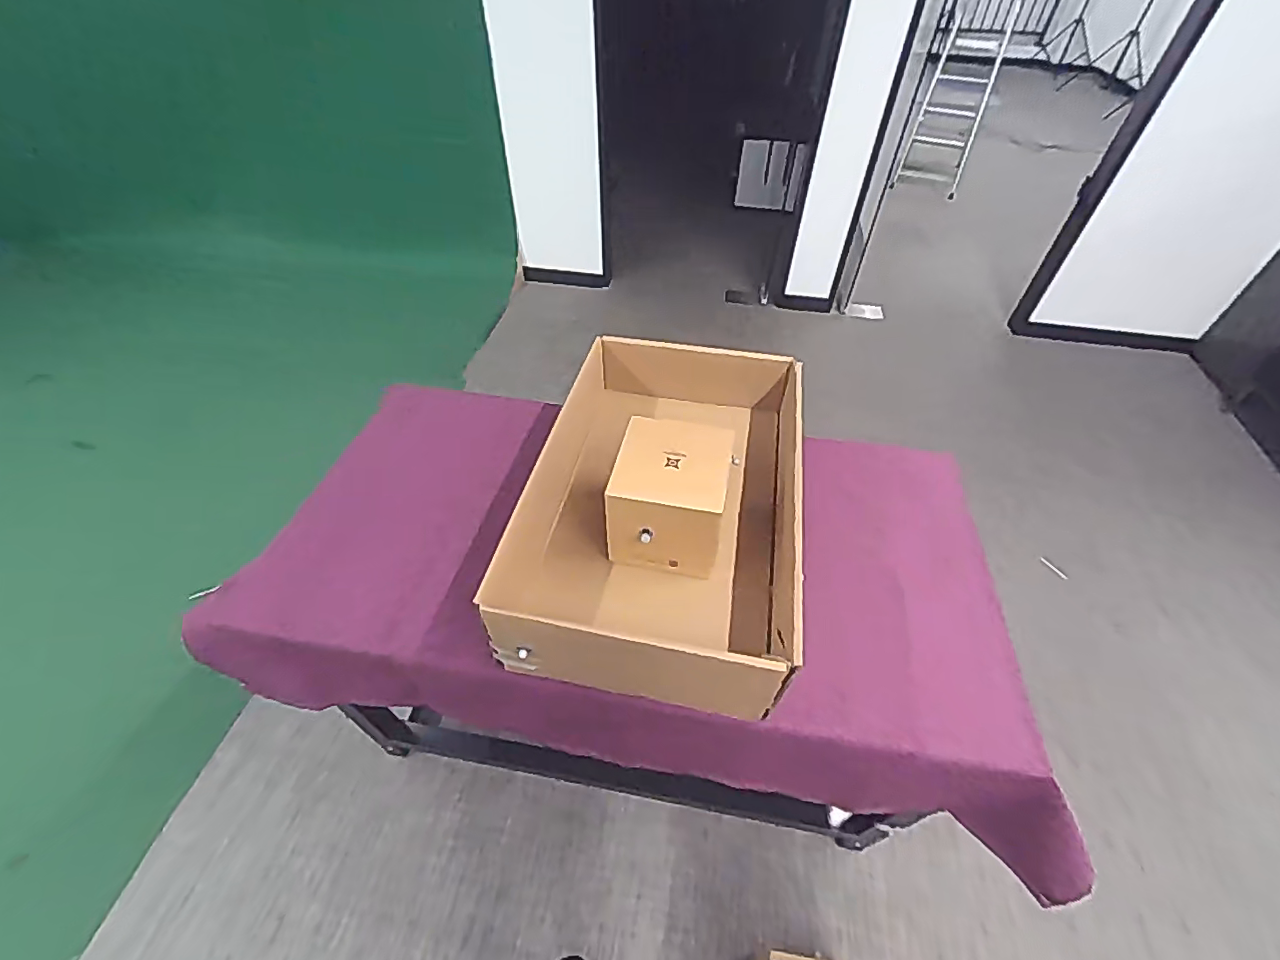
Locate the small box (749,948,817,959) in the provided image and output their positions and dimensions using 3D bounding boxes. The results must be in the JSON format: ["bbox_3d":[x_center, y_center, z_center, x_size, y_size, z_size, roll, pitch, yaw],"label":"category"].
[{"bbox_3d":[0.305,1.007,1.018,0.179,0.176,0.168,7,48,6],"label":"small box"}]

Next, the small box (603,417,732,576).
[{"bbox_3d":[0.046,0.028,0.849,0.168,0.176,0.179,9,47,8],"label":"small box"}]
